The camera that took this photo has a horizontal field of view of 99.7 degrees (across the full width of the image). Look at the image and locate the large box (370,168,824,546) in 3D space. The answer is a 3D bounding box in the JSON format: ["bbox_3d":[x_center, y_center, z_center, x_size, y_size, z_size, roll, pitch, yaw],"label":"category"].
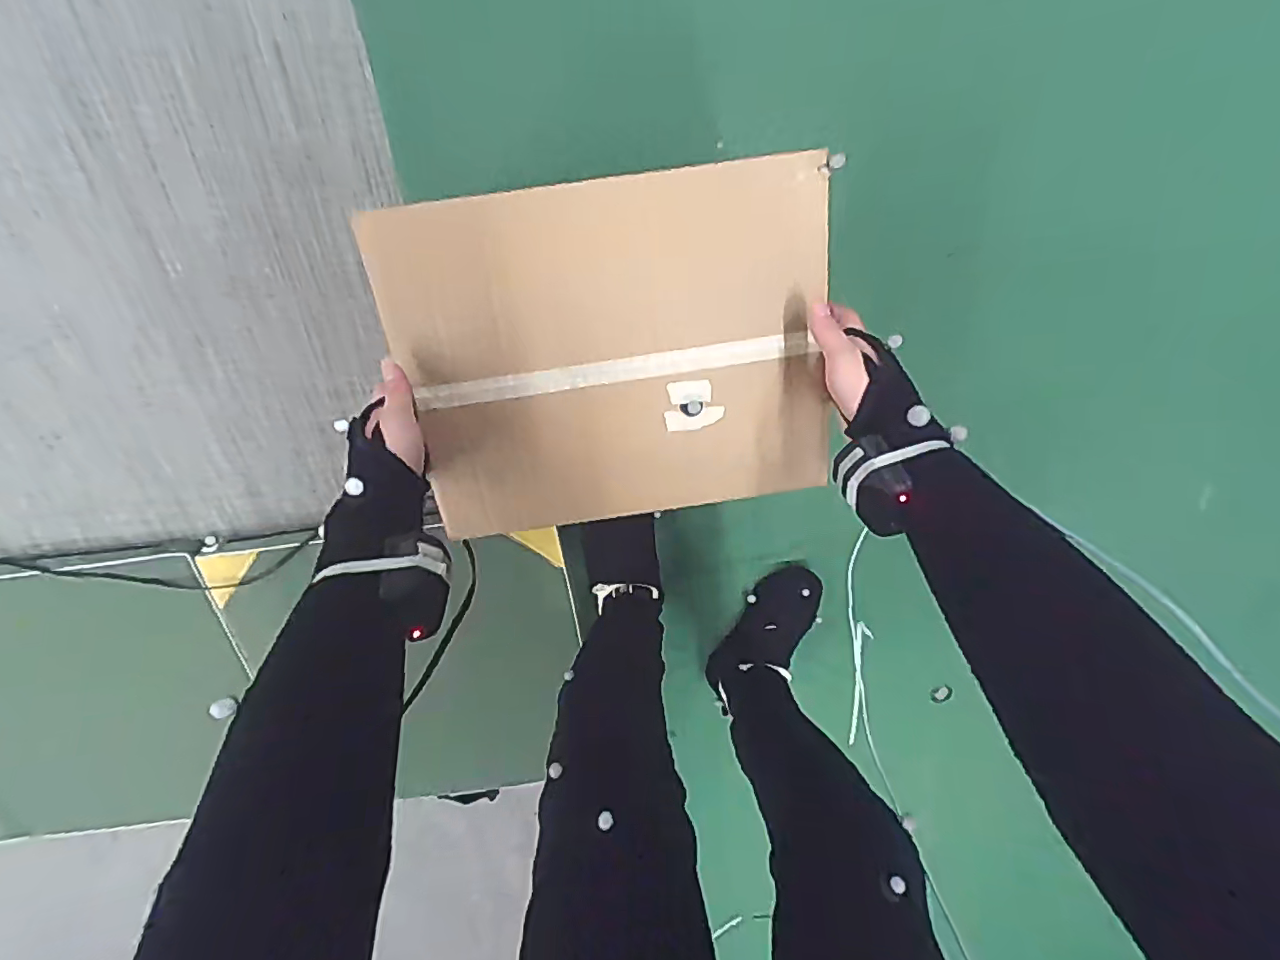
[{"bbox_3d":[-0.032,-0.154,0.660,0.408,0.320,0.320,-9,113,-2],"label":"large box"}]
